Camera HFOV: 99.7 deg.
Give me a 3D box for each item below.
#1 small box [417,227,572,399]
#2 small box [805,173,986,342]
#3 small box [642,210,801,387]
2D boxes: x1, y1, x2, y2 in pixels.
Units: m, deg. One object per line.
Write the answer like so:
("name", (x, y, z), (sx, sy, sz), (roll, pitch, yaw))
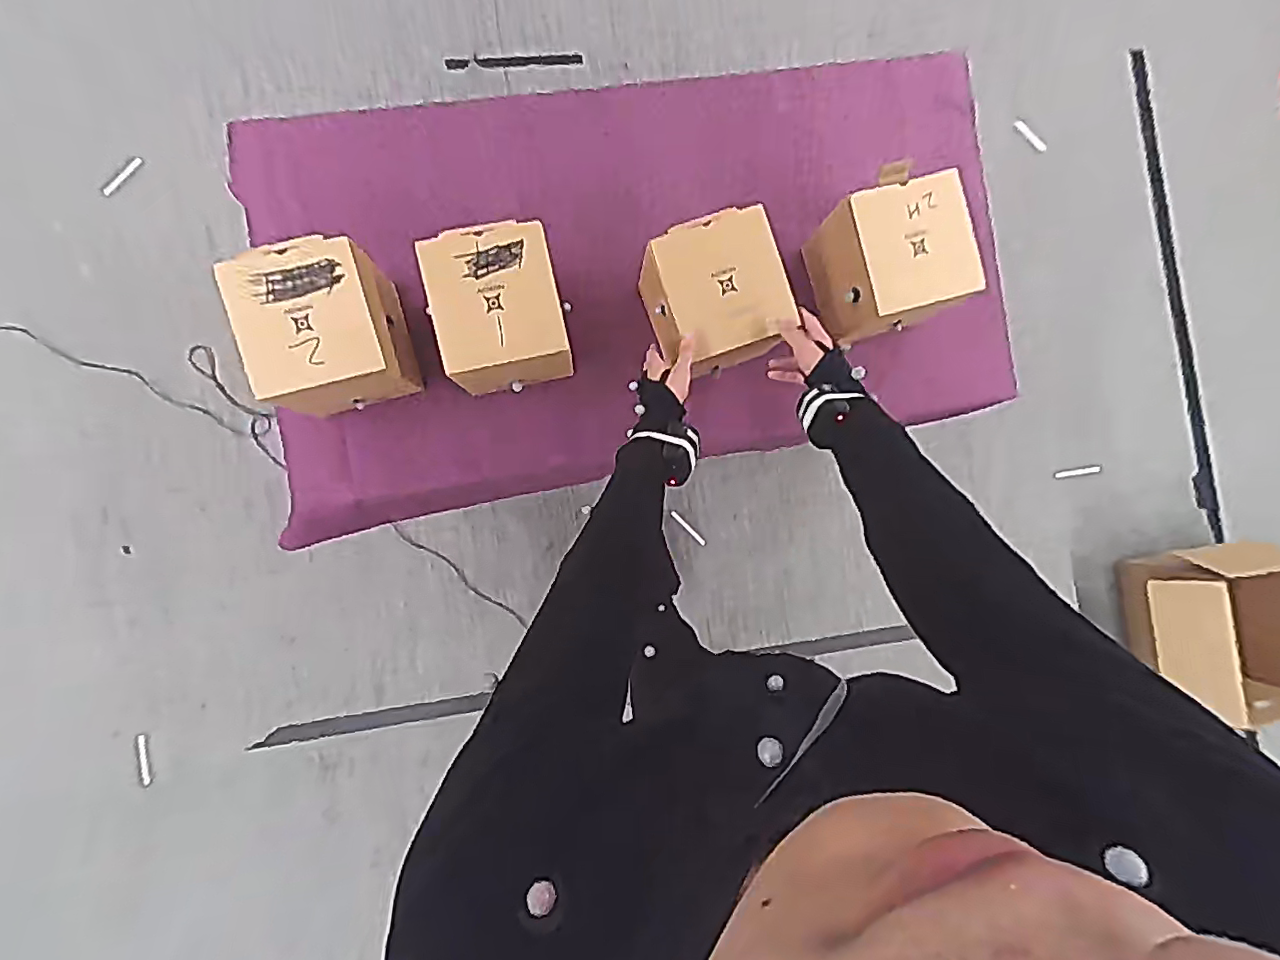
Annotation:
("small box", (-0.196, -0.228, 0.775), (0.168, 0.176, 0.179), (-13, 91, -5))
("small box", (0.376, -0.322, 0.823), (0.168, 0.176, 0.179), (-16, 90, -5))
("small box", (0.108, -0.257, 0.802), (0.168, 0.176, 0.179), (-20, 91, -4))
